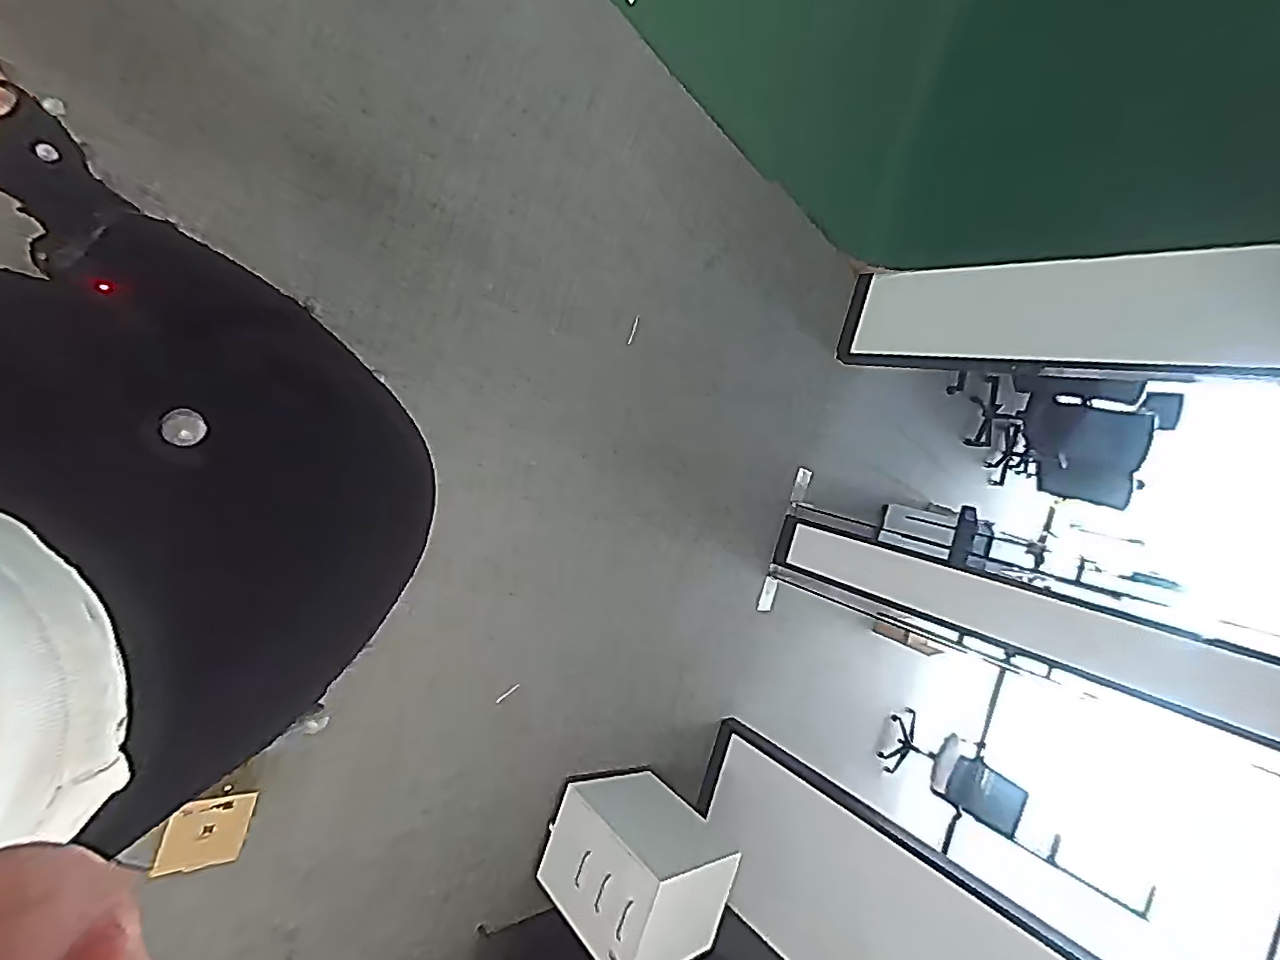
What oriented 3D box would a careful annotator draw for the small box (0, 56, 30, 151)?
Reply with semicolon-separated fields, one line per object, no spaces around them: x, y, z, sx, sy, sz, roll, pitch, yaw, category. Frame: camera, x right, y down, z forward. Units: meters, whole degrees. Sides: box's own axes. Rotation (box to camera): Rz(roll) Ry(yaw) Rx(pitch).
-0.660;-0.385;0.436;0.179;0.176;0.168;-19;113;-37;small box

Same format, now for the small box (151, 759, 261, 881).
-1.058;0.817;1.317;0.168;0.176;0.179;20;88;-45;small box
